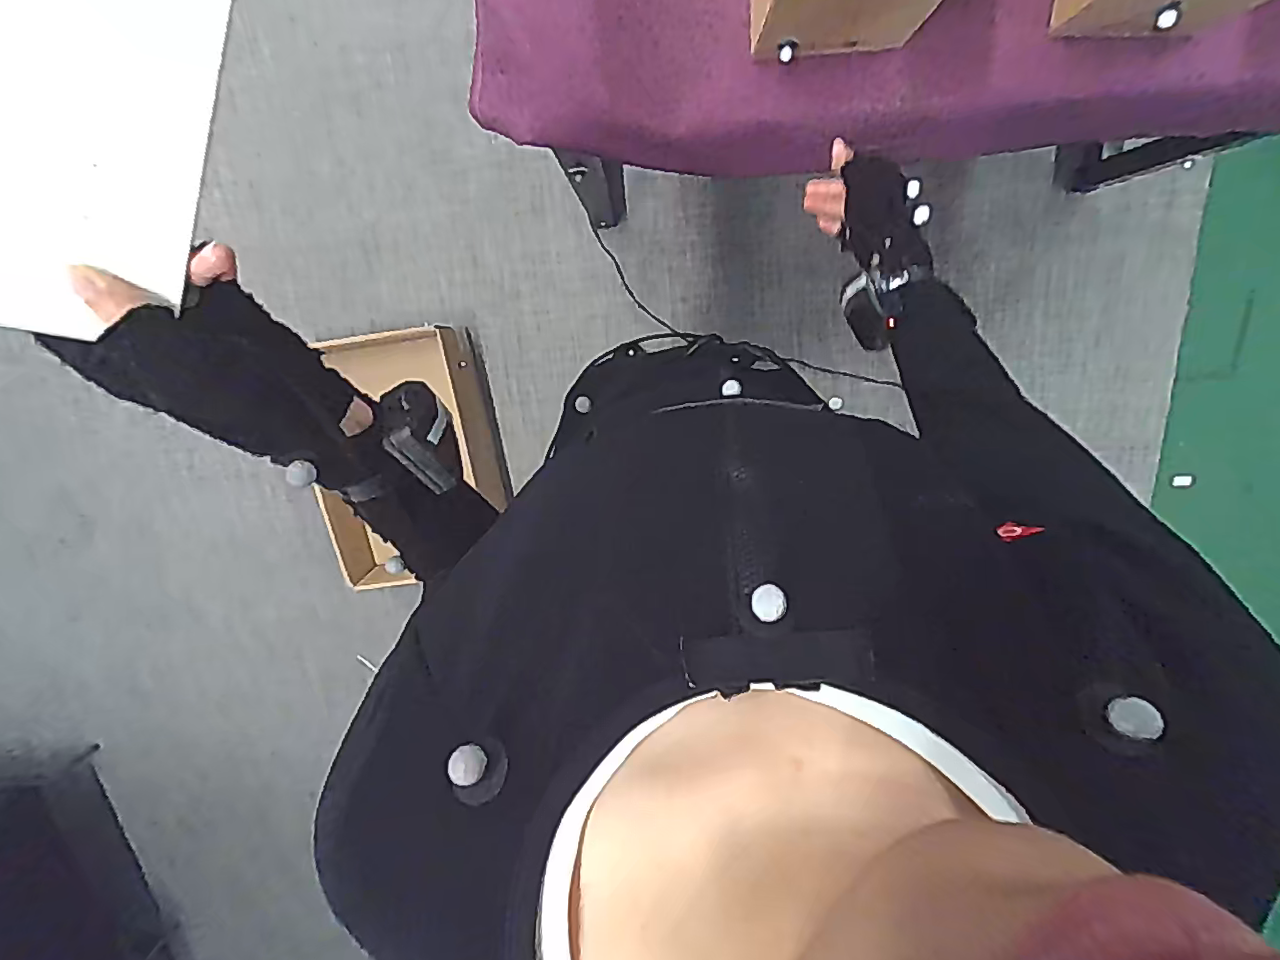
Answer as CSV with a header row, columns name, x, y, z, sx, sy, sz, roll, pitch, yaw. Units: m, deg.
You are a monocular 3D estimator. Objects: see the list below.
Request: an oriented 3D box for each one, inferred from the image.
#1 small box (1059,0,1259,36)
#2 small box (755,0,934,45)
name,x,y,z,sx,sy,sz,roll,pitch,yaw
small box,0.524,-0.544,0.482,0.168,0.176,0.179,1,106,1
small box,0.201,-0.531,0.492,0.168,0.176,0.179,-2,106,2
